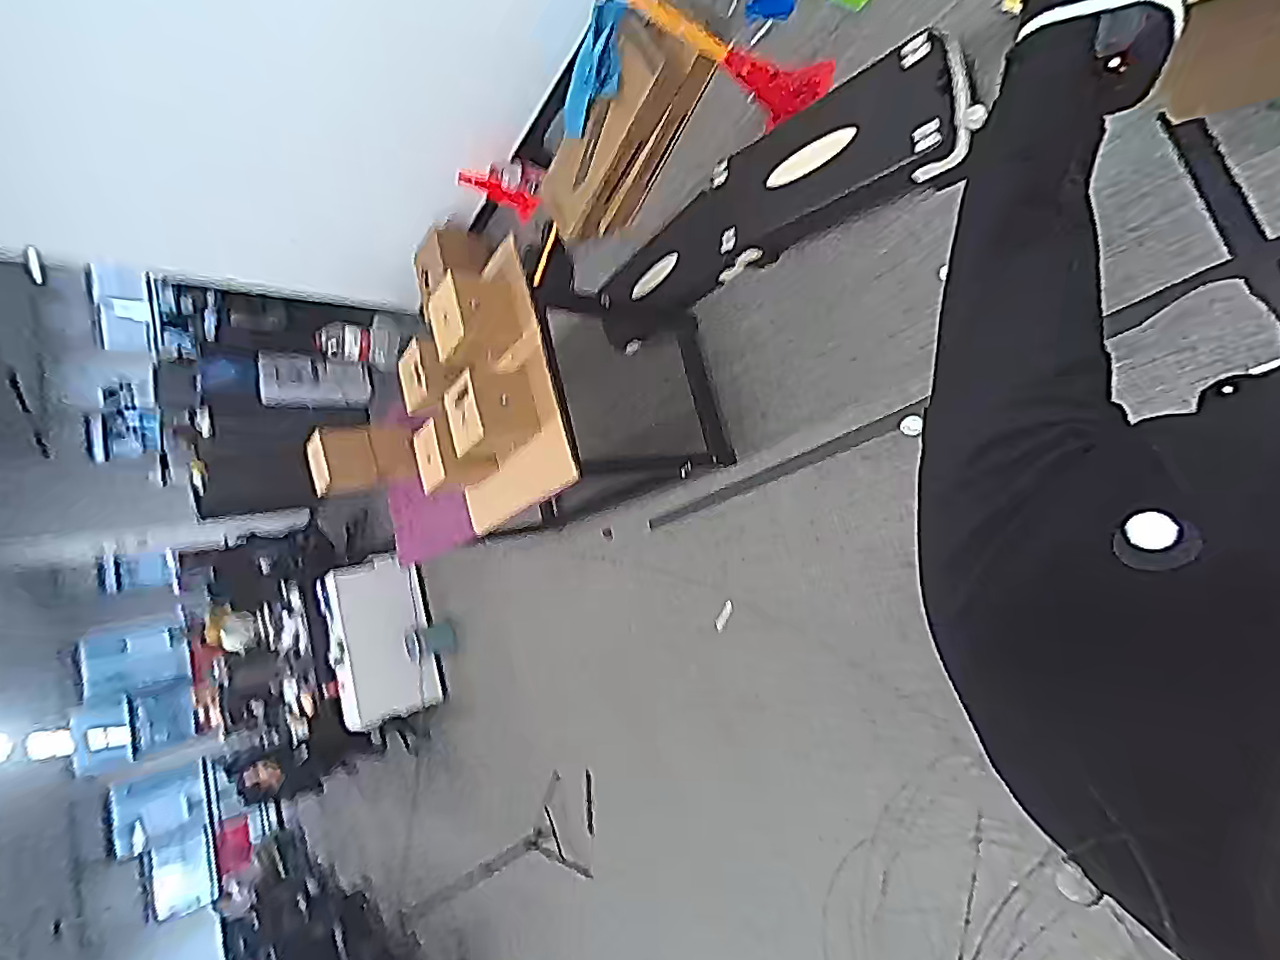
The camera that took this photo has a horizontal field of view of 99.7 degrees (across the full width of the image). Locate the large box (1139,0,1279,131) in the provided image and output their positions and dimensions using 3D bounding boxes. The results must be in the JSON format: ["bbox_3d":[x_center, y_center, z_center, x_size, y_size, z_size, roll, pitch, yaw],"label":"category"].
[{"bbox_3d":[0.594,-0.471,0.314,0.408,0.320,0.320,11,109,46],"label":"large box"}]
